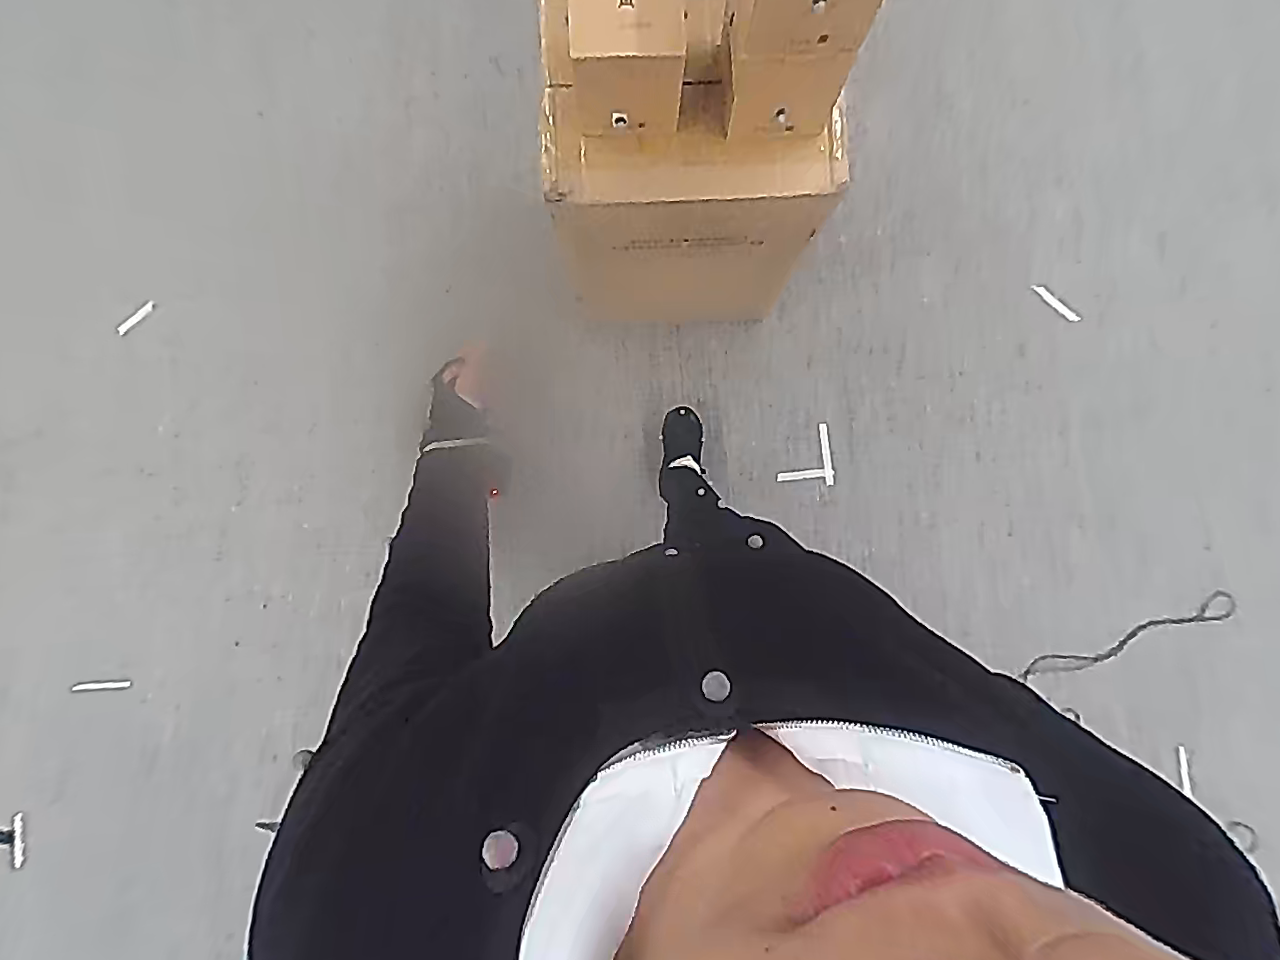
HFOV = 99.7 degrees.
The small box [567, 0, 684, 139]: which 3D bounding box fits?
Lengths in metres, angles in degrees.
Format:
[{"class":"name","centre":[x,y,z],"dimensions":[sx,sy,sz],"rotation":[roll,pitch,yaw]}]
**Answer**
[{"class":"small box","centre":[-0.024,-0.672,0.842],"dimensions":[0.168,0.176,0.179],"rotation":[-4,88,0]}]

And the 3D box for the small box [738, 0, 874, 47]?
[{"class":"small box","centre":[0.218,-0.686,0.678],"dimensions":[0.168,0.176,0.179],"rotation":[-2,87,1]}]

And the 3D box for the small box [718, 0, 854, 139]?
[{"class":"small box","centre":[0.216,-0.672,0.842],"dimensions":[0.168,0.176,0.179],"rotation":[-3,87,1]}]
